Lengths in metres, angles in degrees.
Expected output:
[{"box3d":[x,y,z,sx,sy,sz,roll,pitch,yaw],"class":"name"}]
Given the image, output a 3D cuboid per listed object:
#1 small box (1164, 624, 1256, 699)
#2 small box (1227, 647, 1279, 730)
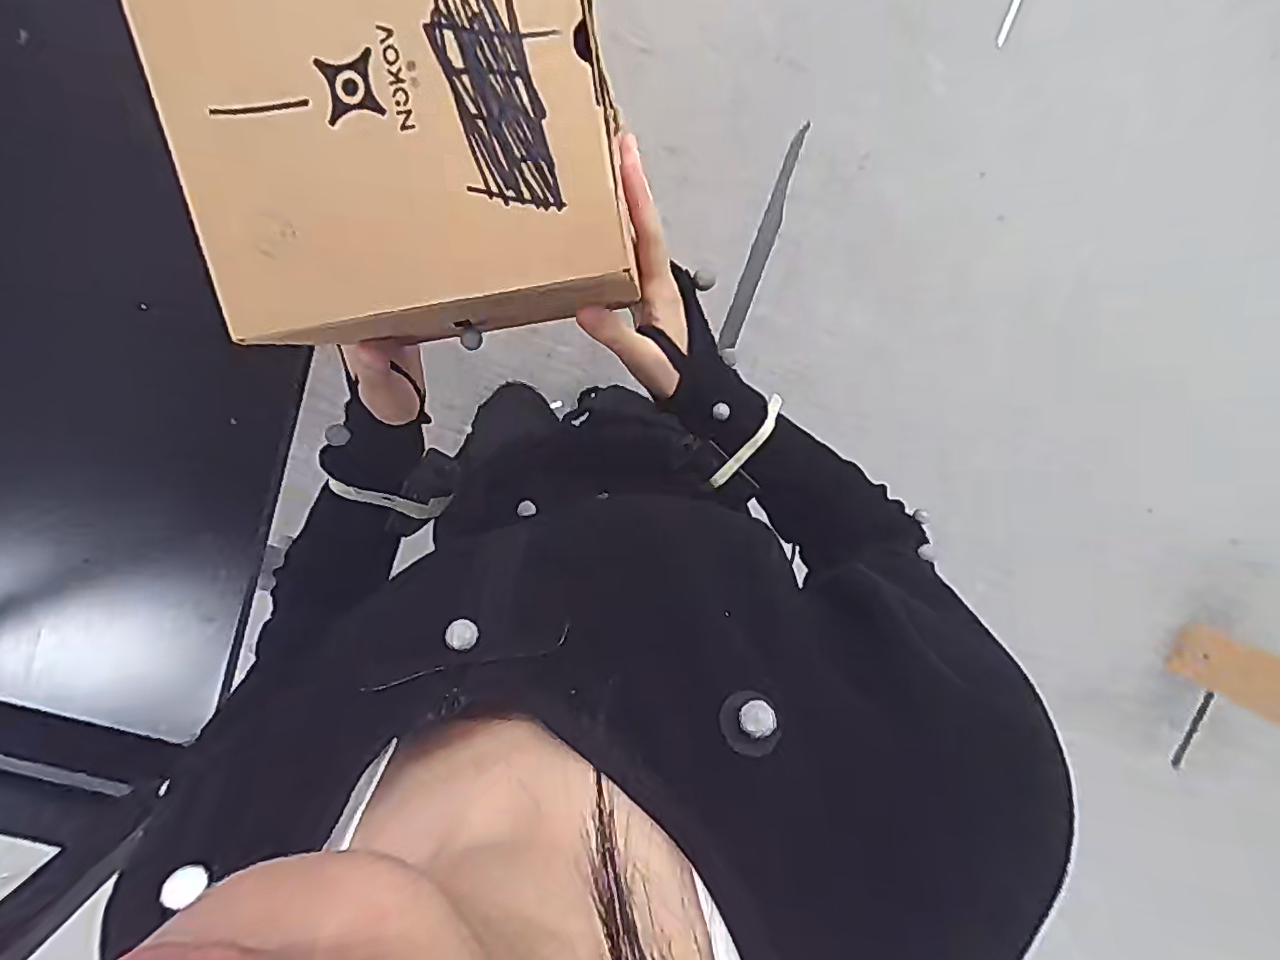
[{"box3d":[1.730,0.547,1.599,0.179,0.176,0.168,19,98,-6],"class":"small box"},{"box3d":[1.742,0.578,1.435,0.168,0.176,0.179,19,98,-7],"class":"small box"}]
